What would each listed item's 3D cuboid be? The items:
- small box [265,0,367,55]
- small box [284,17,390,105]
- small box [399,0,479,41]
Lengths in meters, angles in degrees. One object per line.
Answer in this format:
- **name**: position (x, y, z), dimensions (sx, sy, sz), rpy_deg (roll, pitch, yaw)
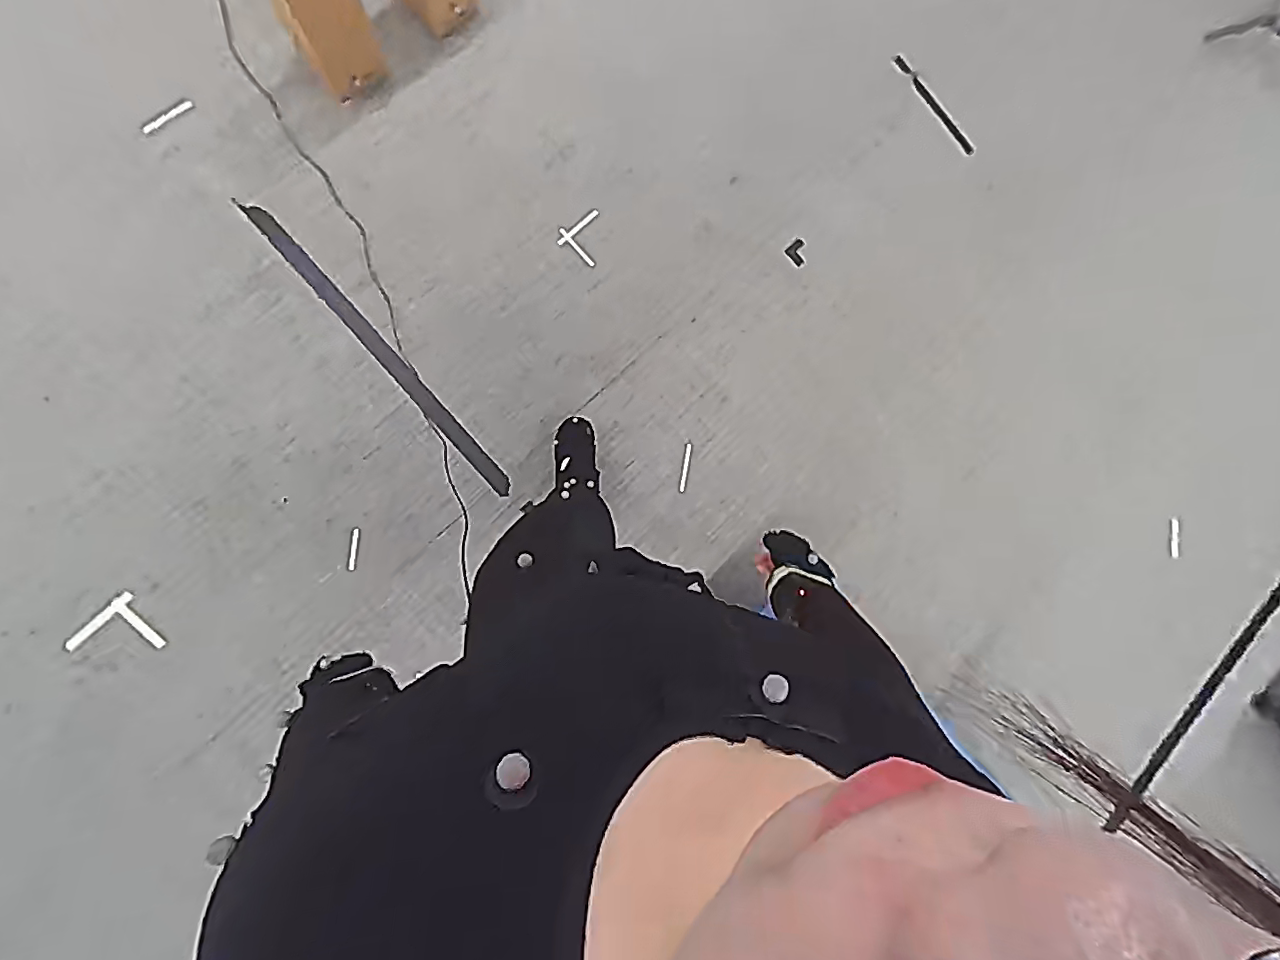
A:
- **small box**: position (-0.771, -1.144, 1.242), dimensions (0.179, 0.176, 0.168), rpy_deg (-45, 93, -9)
- **small box**: position (-0.791, -1.137, 1.403), dimensions (0.168, 0.176, 0.179), rpy_deg (-41, 93, -9)
- **small box**: position (-0.560, -1.354, 1.456), dimensions (0.168, 0.176, 0.179), rpy_deg (-44, 93, -9)
